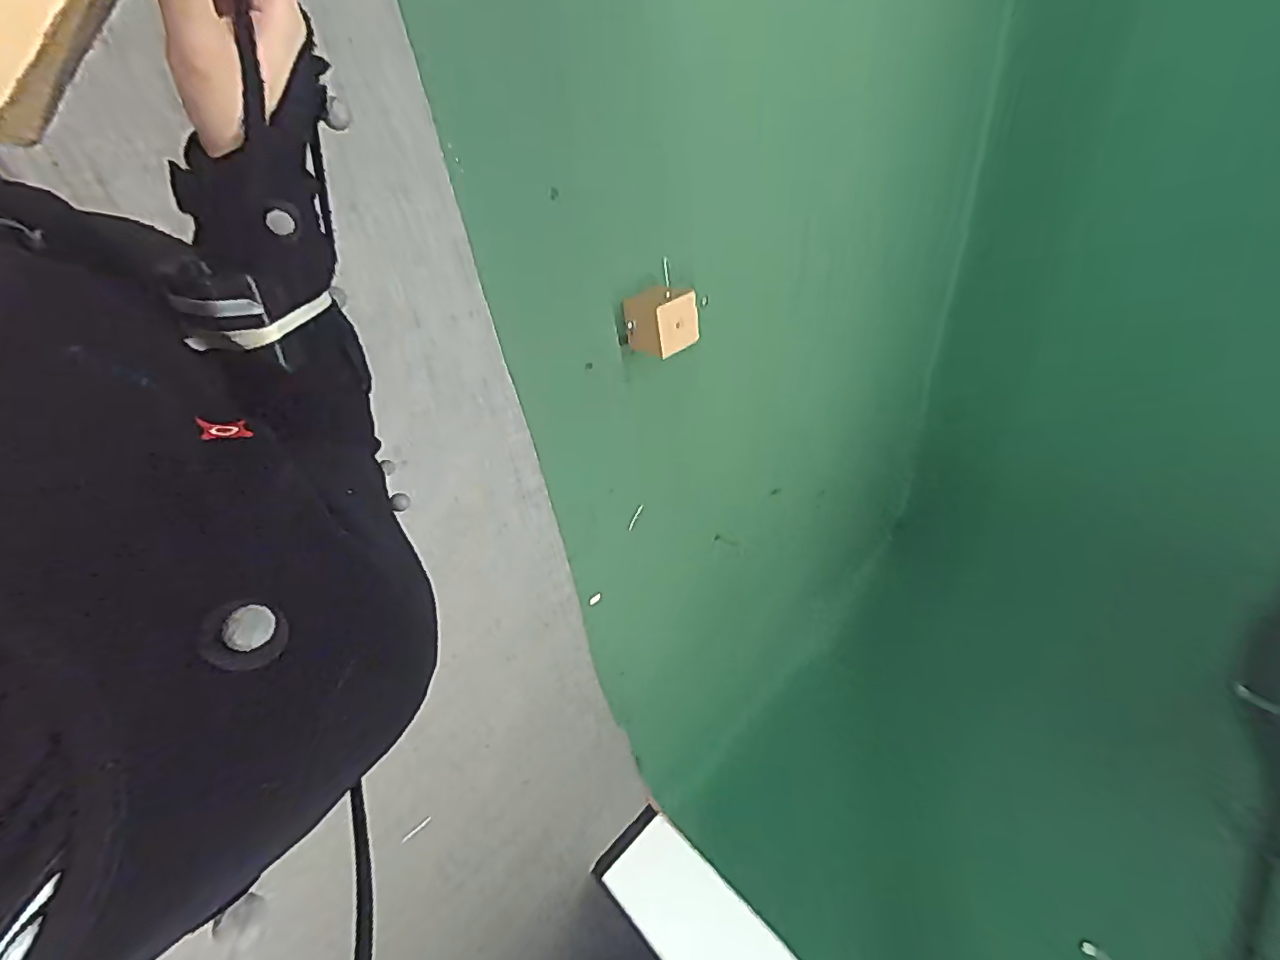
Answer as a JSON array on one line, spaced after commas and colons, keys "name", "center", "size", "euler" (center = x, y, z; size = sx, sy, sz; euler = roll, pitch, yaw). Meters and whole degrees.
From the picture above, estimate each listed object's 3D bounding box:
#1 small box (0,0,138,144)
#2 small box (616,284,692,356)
[{"name": "small box", "center": [-0.279, -0.245, 0.182], "size": [0.168, 0.176, 0.179], "euler": [31, 89, -49]}, {"name": "small box", "center": [0.046, -0.531, 1.773], "size": [0.179, 0.176, 0.168], "euler": [-34, 132, -29]}]
